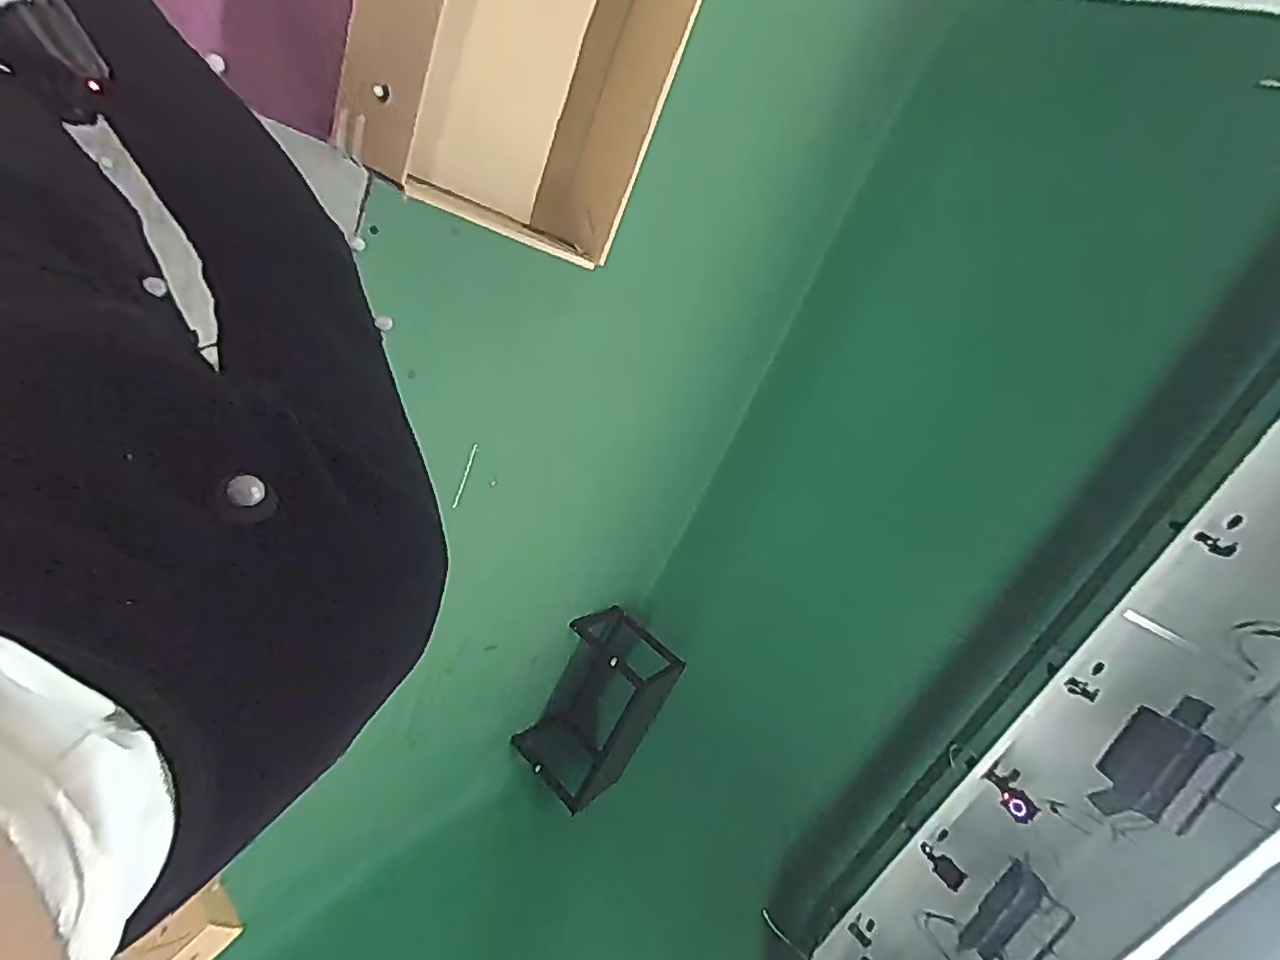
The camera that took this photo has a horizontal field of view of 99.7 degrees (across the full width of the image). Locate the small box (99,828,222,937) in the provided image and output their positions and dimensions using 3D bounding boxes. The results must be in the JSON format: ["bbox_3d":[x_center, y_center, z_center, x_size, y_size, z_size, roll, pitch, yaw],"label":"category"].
[{"bbox_3d":[-1.269,1.071,1.437,0.168,0.176,0.179,-38,147,-33],"label":"small box"}]

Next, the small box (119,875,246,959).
[{"bbox_3d":[-1.151,1.150,1.357,0.179,0.176,0.168,-40,149,-32],"label":"small box"}]

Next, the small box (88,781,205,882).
[{"bbox_3d":[-1.388,0.995,1.518,0.179,0.176,0.168,-38,148,-31],"label":"small box"}]
